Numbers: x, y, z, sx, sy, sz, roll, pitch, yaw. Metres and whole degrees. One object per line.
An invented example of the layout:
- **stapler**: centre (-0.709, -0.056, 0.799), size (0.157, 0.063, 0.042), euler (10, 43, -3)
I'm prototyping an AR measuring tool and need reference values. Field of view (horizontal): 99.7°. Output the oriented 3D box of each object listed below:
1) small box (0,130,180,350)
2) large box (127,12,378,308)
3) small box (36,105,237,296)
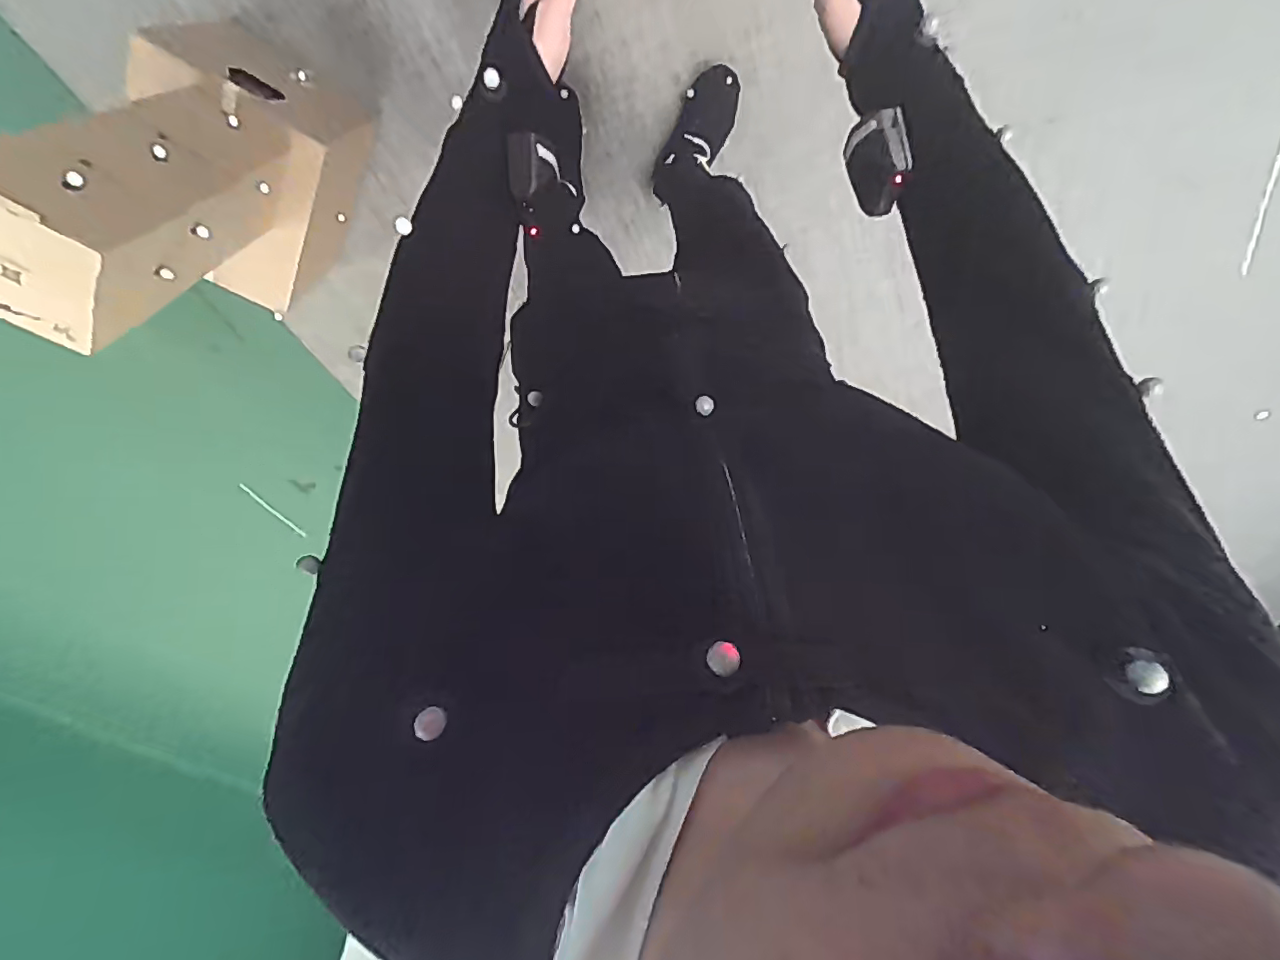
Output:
- **small box**: centre (-0.749, -0.314, 0.703), size (0.168, 0.176, 0.179), euler (30, 125, -25)
- **large box**: centre (-0.810, -0.669, 1.156), size (0.320, 0.320, 0.408), euler (26, 129, -22)
- **small box**: centre (-0.755, -0.426, 0.822), size (0.168, 0.176, 0.179), euler (30, 126, -25)
